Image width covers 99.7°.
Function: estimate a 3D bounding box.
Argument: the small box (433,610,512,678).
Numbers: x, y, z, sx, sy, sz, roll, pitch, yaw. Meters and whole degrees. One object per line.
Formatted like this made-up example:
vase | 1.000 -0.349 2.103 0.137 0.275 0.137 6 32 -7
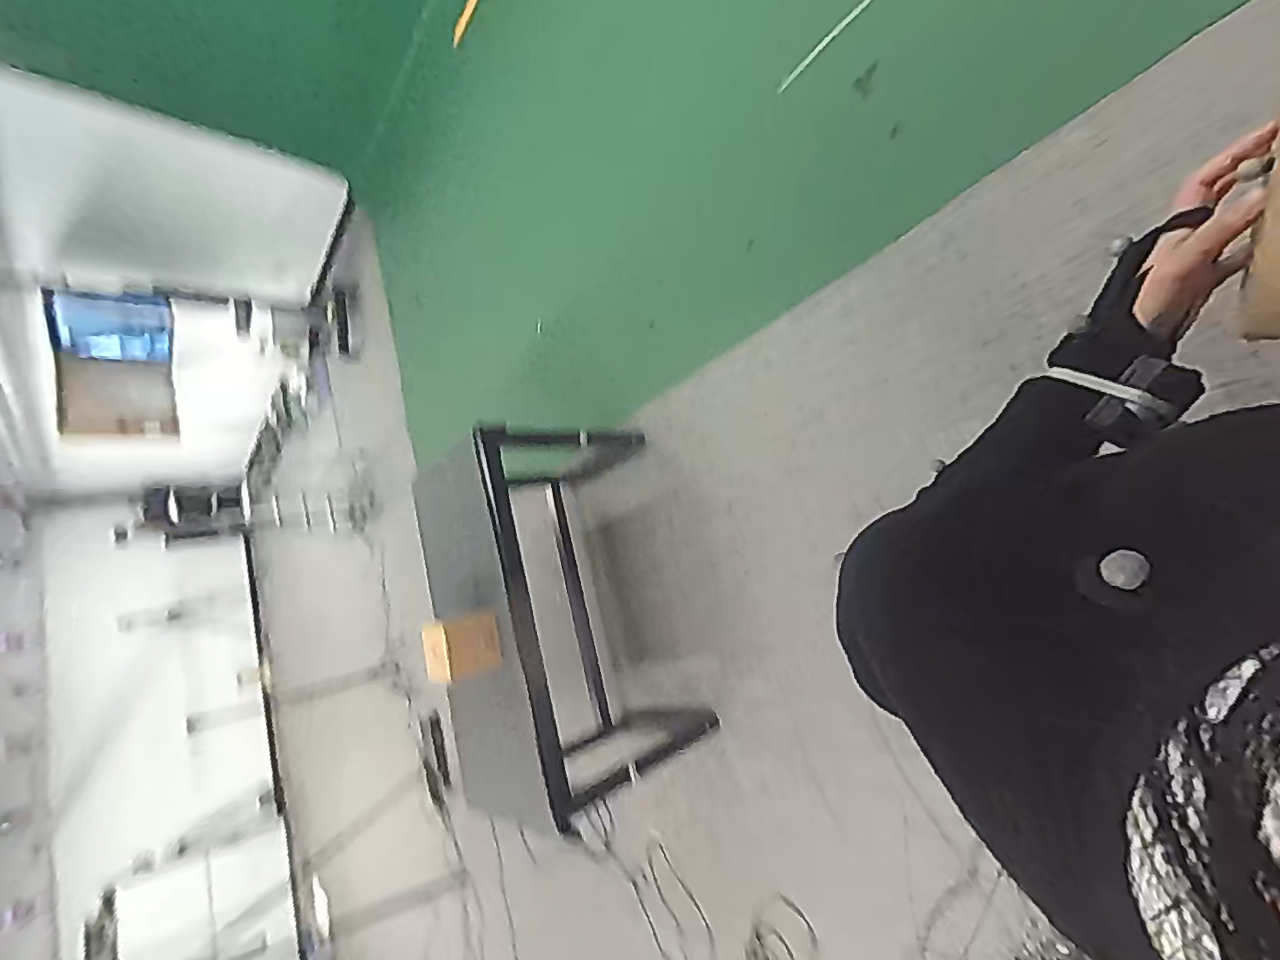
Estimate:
small box | -0.515 0.501 1.665 0.179 0.176 0.168 -20 79 46
